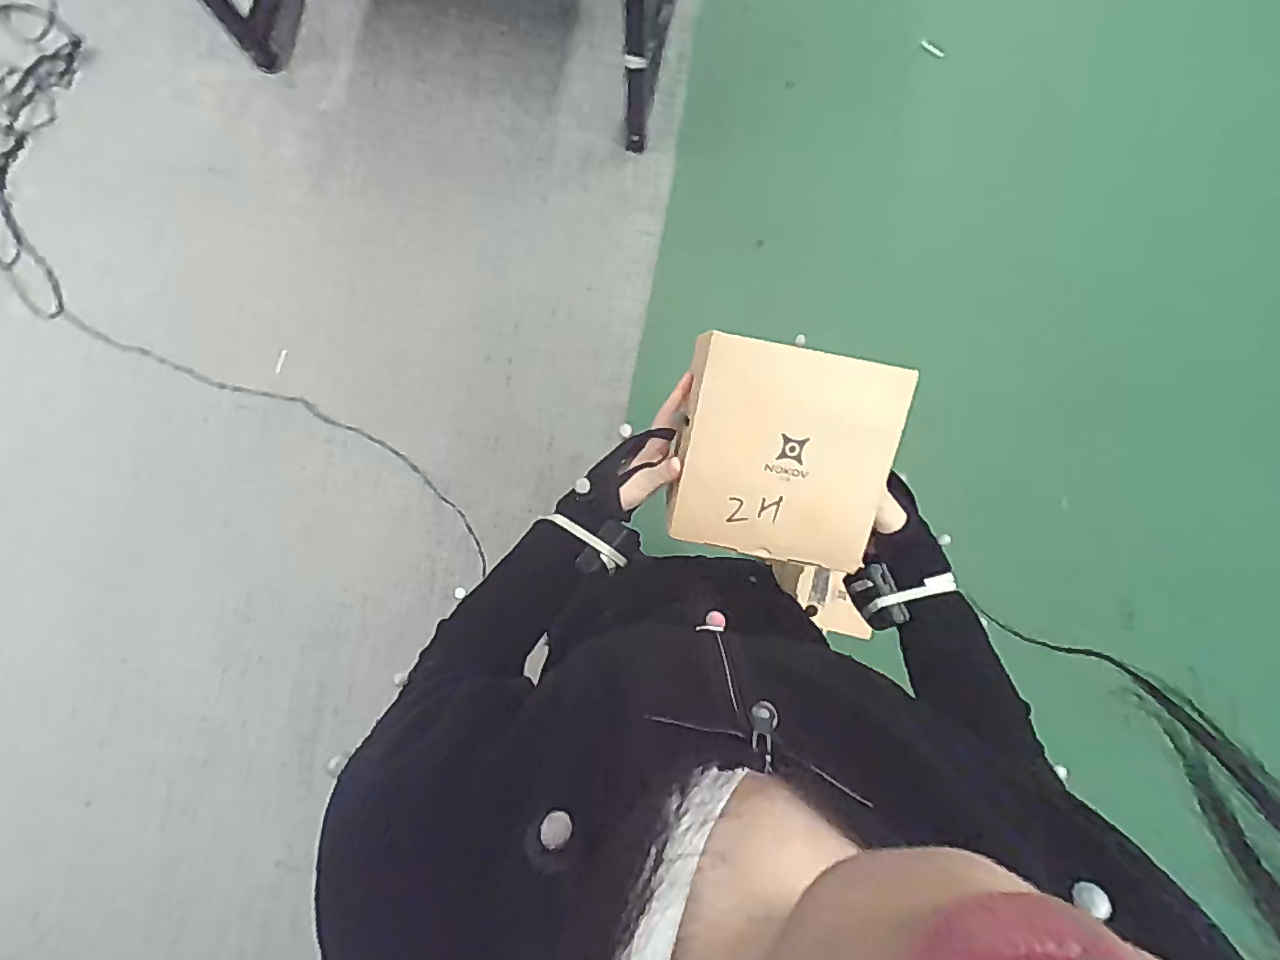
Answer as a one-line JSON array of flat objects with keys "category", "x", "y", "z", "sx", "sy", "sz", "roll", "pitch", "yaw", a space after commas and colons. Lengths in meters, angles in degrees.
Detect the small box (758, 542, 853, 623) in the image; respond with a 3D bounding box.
[{"category": "small box", "x": 0.429, "y": 0.261, "z": 1.421, "sx": 0.179, "sy": 0.176, "sz": 0.168, "roll": 14, "pitch": 86, "yaw": 1}]
